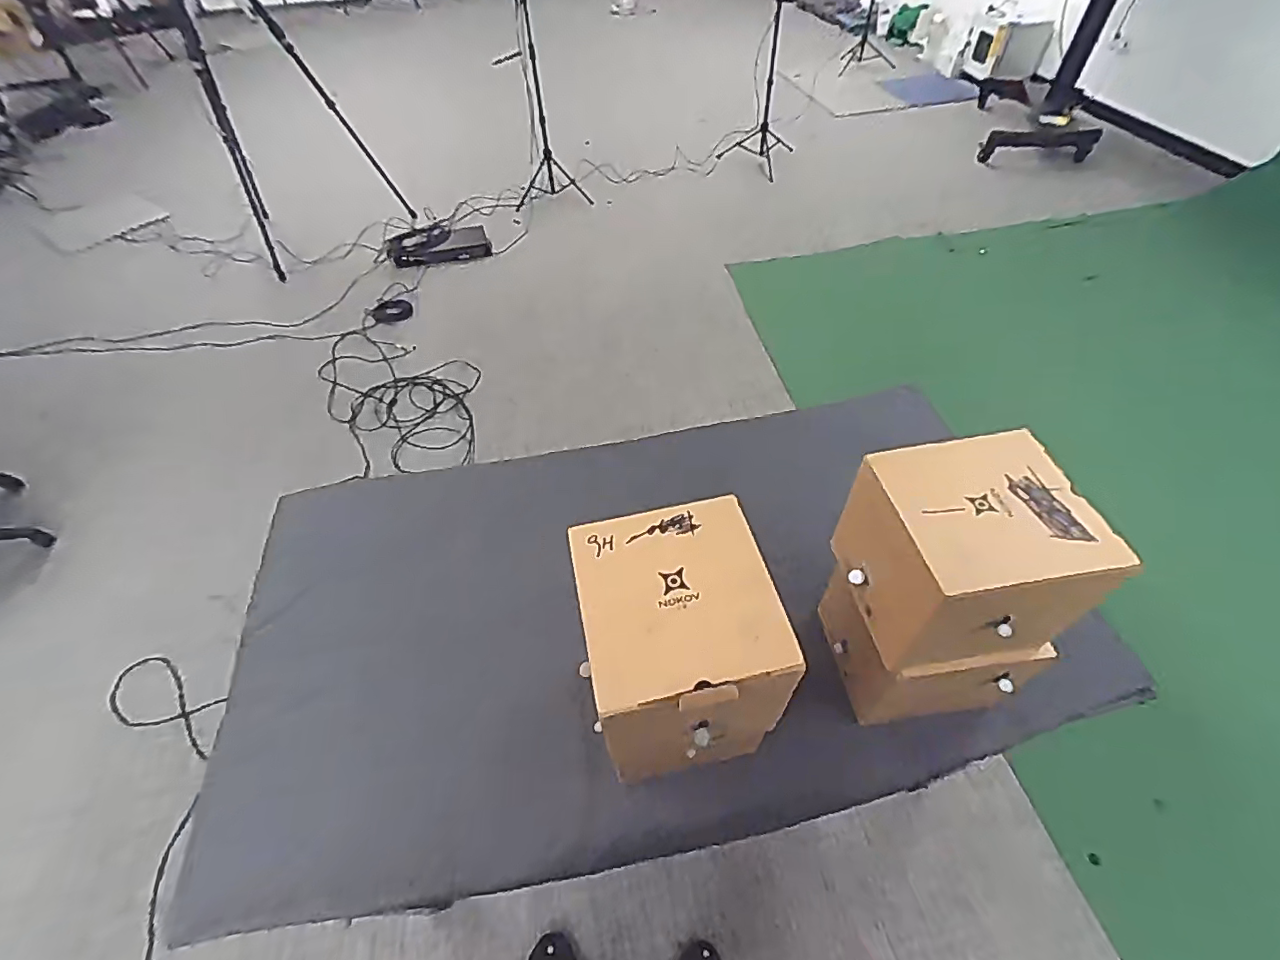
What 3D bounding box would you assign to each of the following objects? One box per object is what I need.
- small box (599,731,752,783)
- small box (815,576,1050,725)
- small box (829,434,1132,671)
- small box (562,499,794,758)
[{"bbox_3d":[0.032,0.244,0.650,0.179,0.176,0.168,-10,51,-8],"label":"small box"},{"bbox_3d":[0.342,0.190,0.677,0.179,0.176,0.168,-7,49,-3],"label":"small box"},{"bbox_3d":[0.321,0.078,0.558,0.179,0.176,0.168,-9,50,-3],"label":"small box"},{"bbox_3d":[0.027,0.148,0.516,0.168,0.176,0.179,-11,51,-6],"label":"small box"}]
